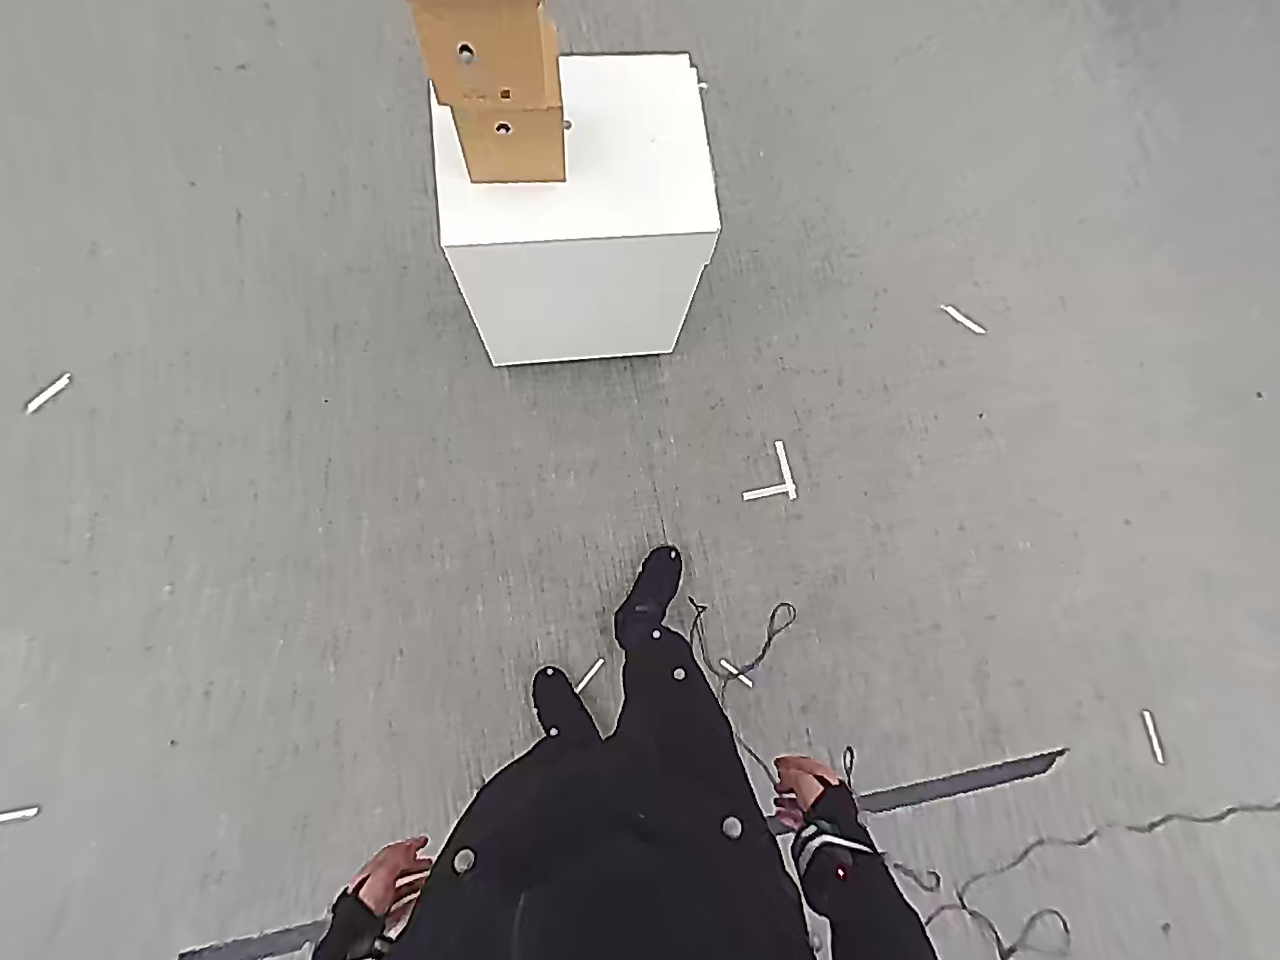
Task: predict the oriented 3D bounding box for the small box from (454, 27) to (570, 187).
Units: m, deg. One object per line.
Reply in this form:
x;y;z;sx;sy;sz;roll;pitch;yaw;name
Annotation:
-0.216;-0.636;0.935;0.179;0.176;0.168;-4;80;-7;small box

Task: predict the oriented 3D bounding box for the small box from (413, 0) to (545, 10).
-0.200;-0.681;0.611;0.179;0.176;0.168;-6;80;-7;small box

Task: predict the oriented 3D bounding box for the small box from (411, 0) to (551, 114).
-0.217;-0.664;0.775;0.168;0.176;0.179;-3;79;-6;small box
